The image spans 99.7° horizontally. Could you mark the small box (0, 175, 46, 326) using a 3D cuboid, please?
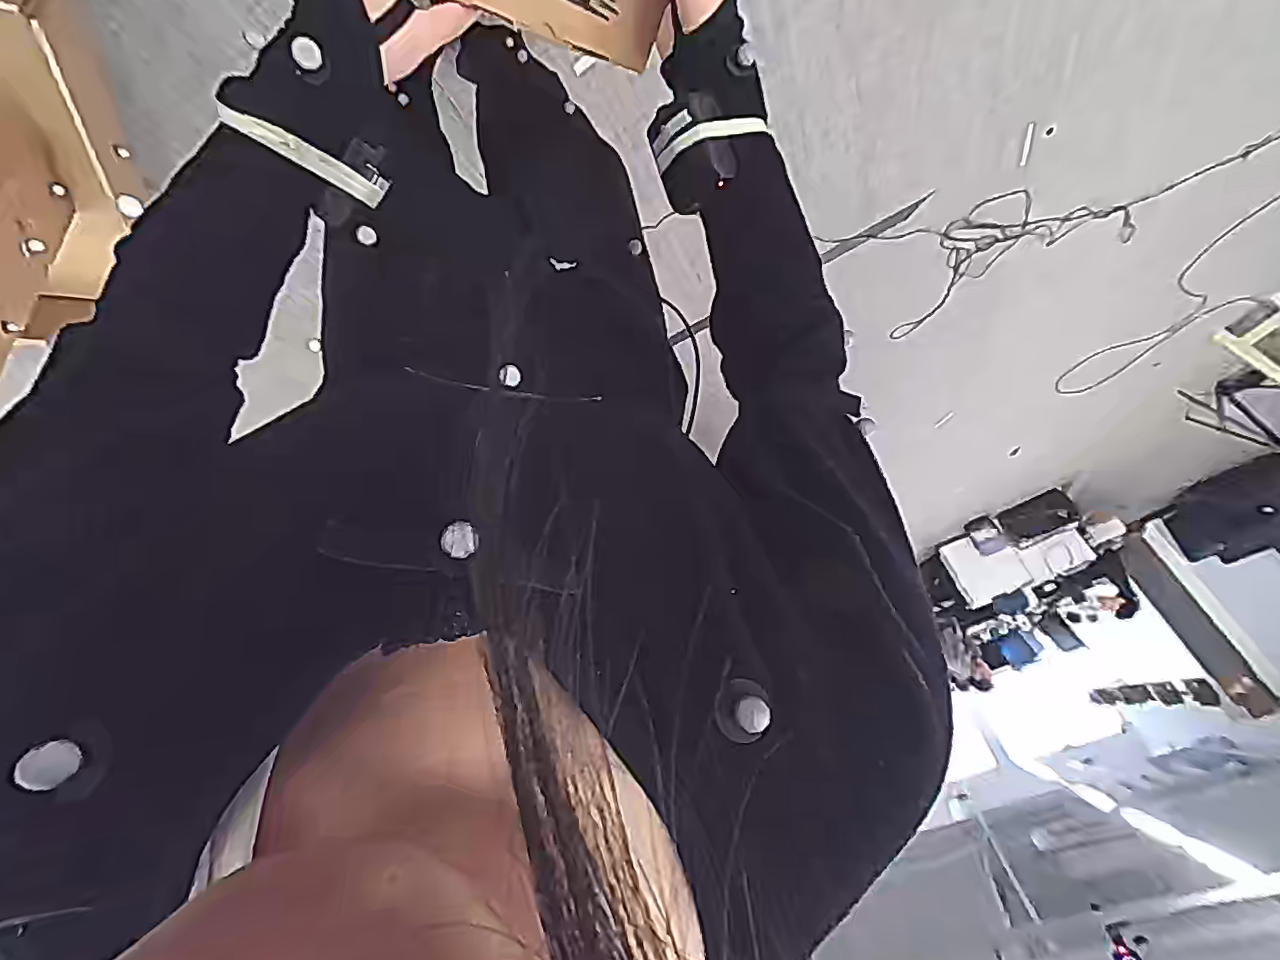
[{"bbox_3d":[-1.061,-0.359,0.810,0.179,0.176,0.168,-2,147,-27],"label":"small box"}]

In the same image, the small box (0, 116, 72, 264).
[{"bbox_3d":[-1.104,-0.492,0.892,0.179,0.176,0.168,0,146,-28],"label":"small box"}]

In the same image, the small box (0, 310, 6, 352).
[{"bbox_3d":[-1.023,-0.222,0.727,0.179,0.176,0.168,0,146,-25],"label":"small box"}]
